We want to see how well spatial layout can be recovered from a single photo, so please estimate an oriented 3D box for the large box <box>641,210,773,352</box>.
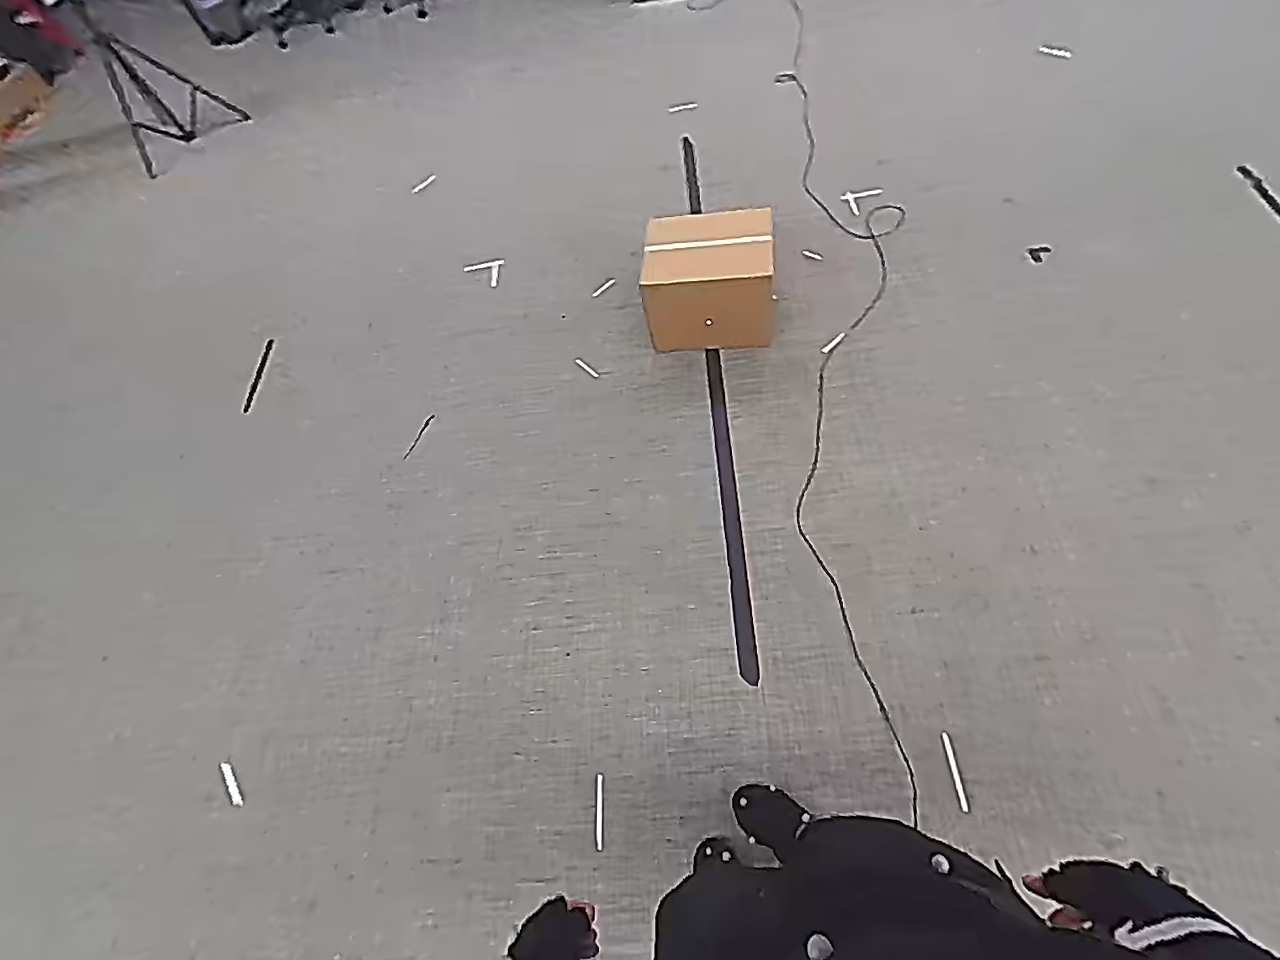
[{"bbox_3d":[0.230,-0.656,1.820,0.408,0.320,0.320,0,62,11],"label":"large box"}]
